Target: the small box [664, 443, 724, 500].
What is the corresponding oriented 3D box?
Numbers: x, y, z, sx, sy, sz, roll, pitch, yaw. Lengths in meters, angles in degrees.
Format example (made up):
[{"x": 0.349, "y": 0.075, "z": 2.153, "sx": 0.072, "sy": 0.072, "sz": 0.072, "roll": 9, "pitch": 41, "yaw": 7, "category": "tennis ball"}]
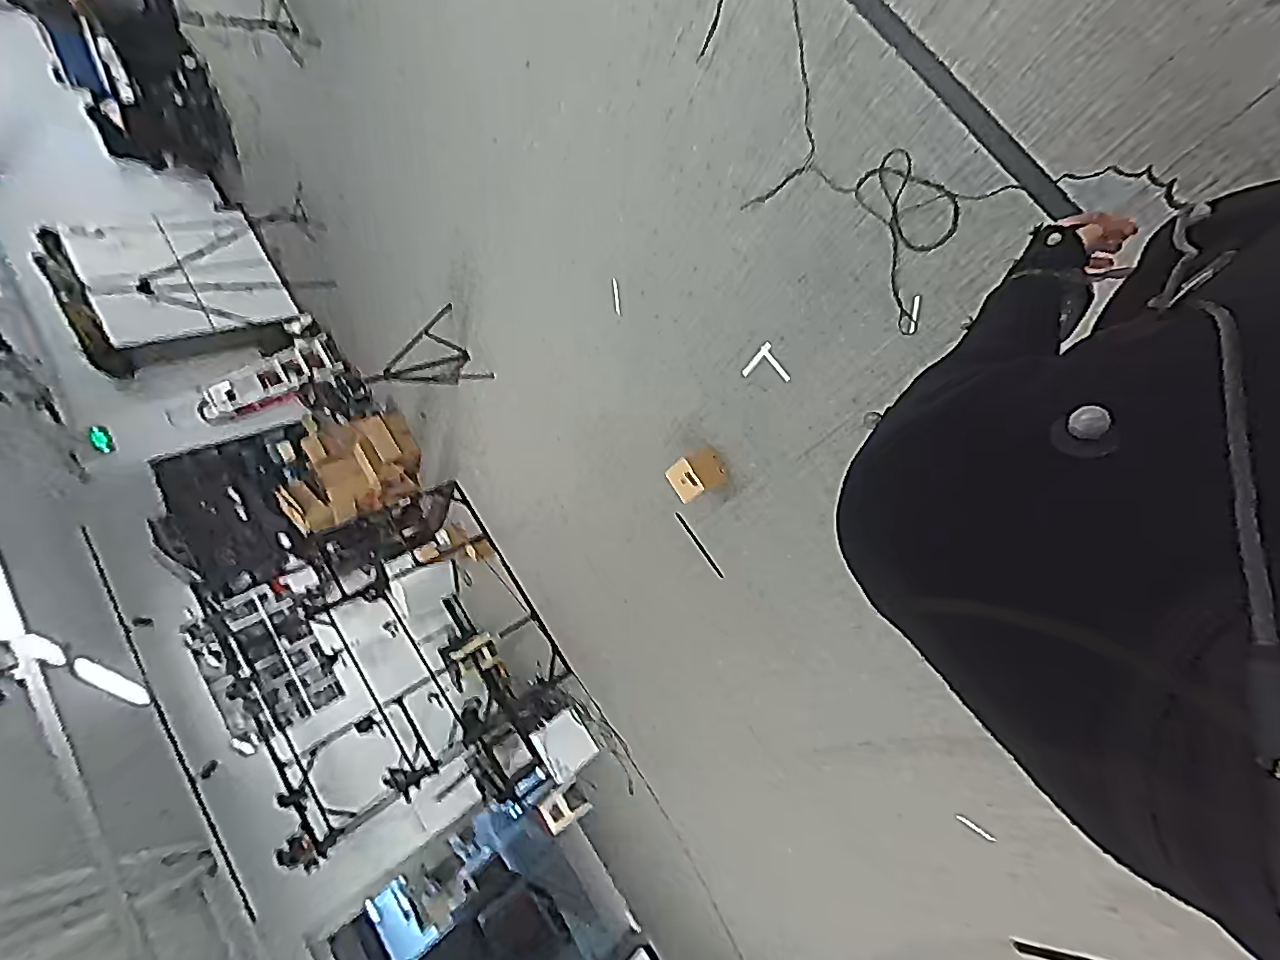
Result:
[{"x": 0.242, "y": -0.040, "z": 2.363, "sx": 0.168, "sy": 0.176, "sz": 0.179, "roll": 58, "pitch": 145, "yaw": 8, "category": "small box"}]
